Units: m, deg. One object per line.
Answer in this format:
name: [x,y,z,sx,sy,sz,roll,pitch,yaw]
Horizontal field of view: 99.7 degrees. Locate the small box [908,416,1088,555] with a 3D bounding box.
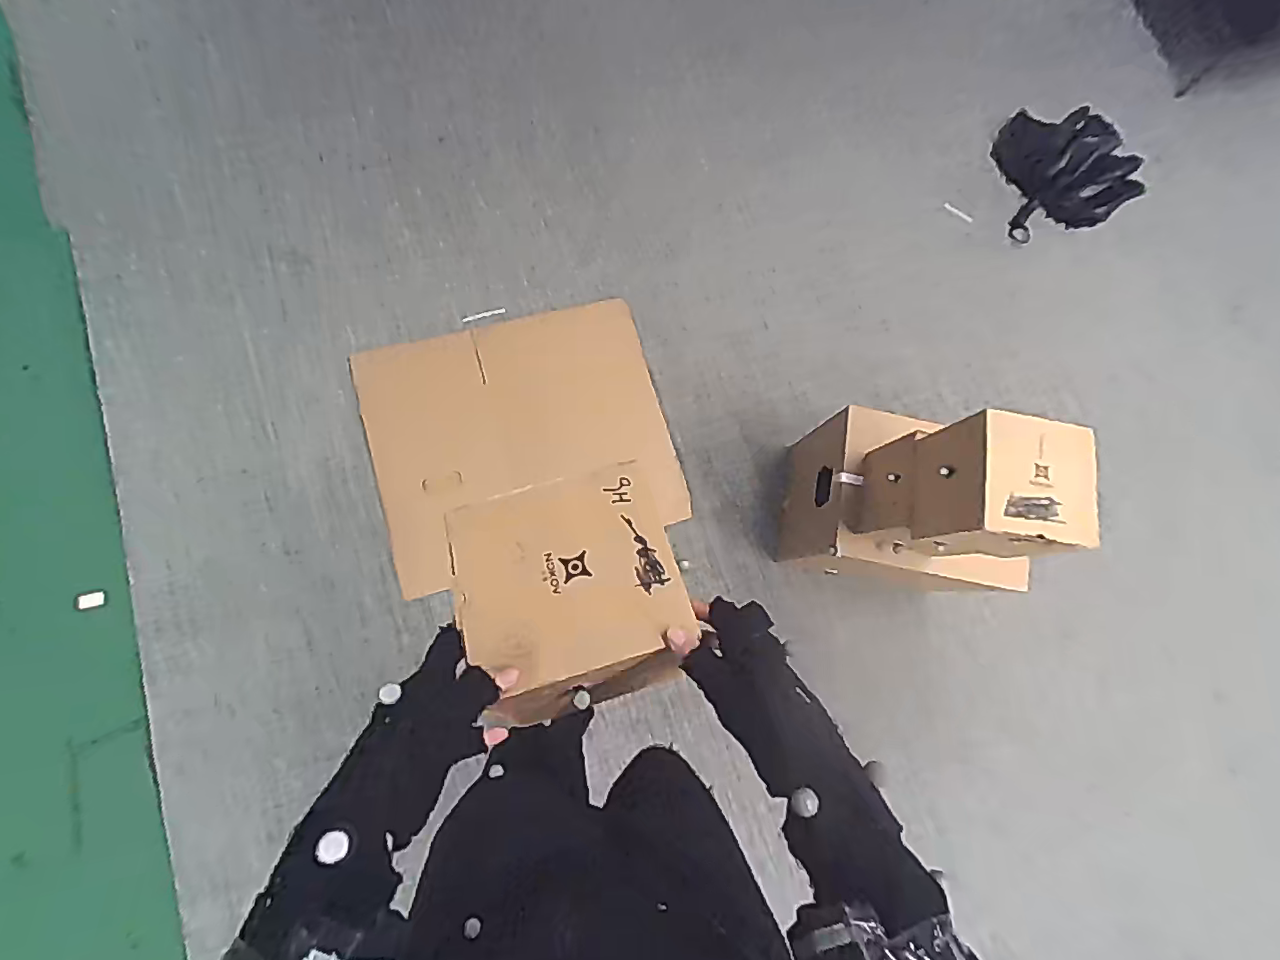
small box: [0.532,0.018,0.825,0.168,0.176,0.179,7,79,-4]

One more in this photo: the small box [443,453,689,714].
small box: [-0.064,0.106,0.516,0.179,0.176,0.168,-18,61,-9]

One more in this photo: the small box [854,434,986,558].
small box: [0.515,0.037,0.988,0.168,0.176,0.179,14,79,-2]
